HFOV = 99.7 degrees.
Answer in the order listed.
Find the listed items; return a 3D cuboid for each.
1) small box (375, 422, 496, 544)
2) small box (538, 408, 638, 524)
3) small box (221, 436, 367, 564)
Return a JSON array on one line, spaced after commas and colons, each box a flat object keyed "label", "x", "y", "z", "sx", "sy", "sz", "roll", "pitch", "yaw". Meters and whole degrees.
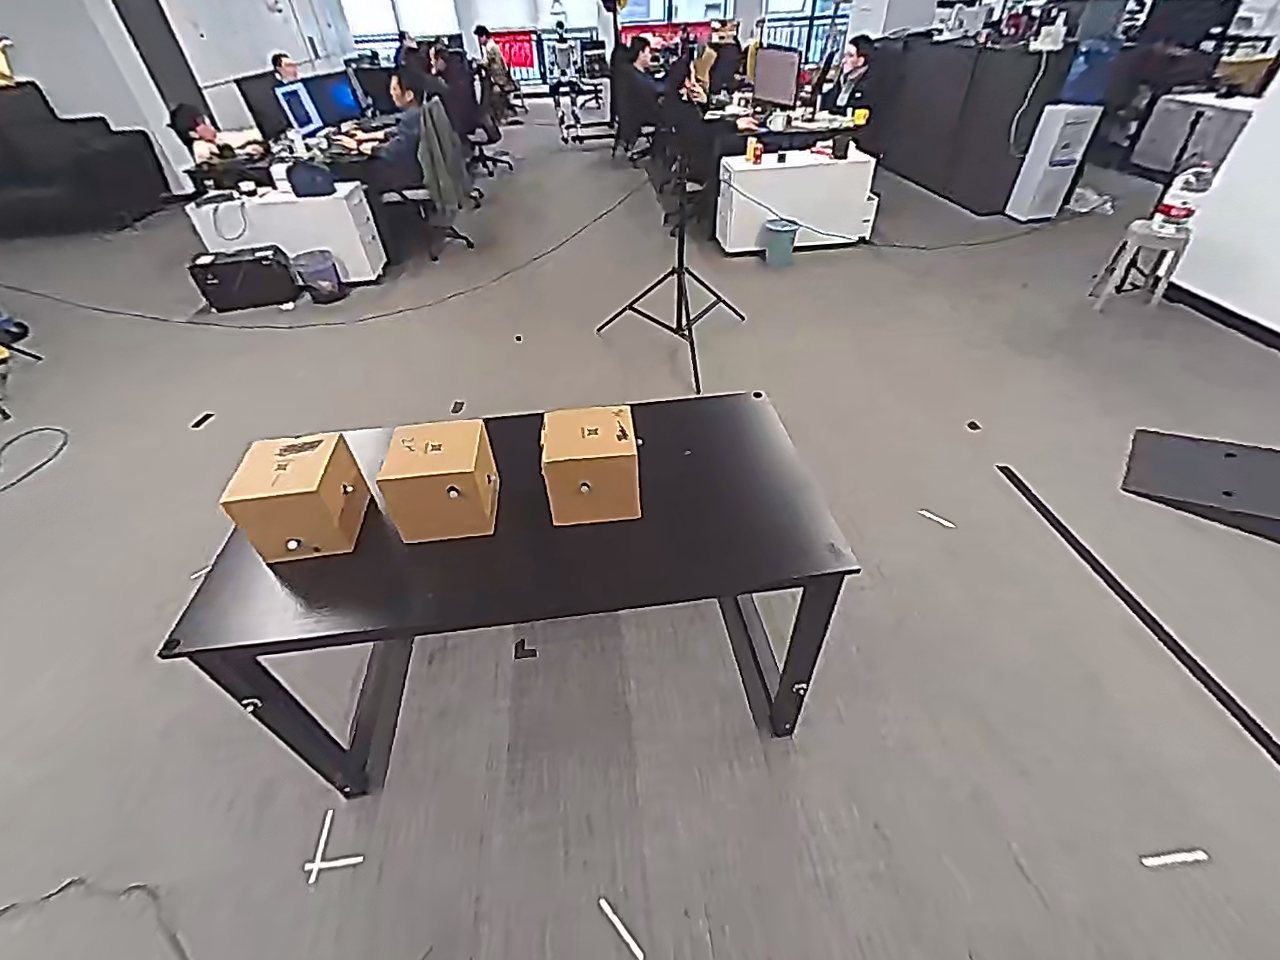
[{"label": "small box", "x": -0.392, "y": 0.007, "z": 1.074, "sx": 0.179, "sy": 0.176, "sz": 0.168, "roll": -6, "pitch": 41, "yaw": -4}, {"label": "small box", "x": -0.101, "y": -0.025, "z": 1.097, "sx": 0.179, "sy": 0.176, "sz": 0.168, "roll": -6, "pitch": 42, "yaw": -2}, {"label": "small box", "x": -0.656, "y": 0.038, "z": 1.055, "sx": 0.168, "sy": 0.176, "sz": 0.179, "roll": -8, "pitch": 43, "yaw": -5}]
